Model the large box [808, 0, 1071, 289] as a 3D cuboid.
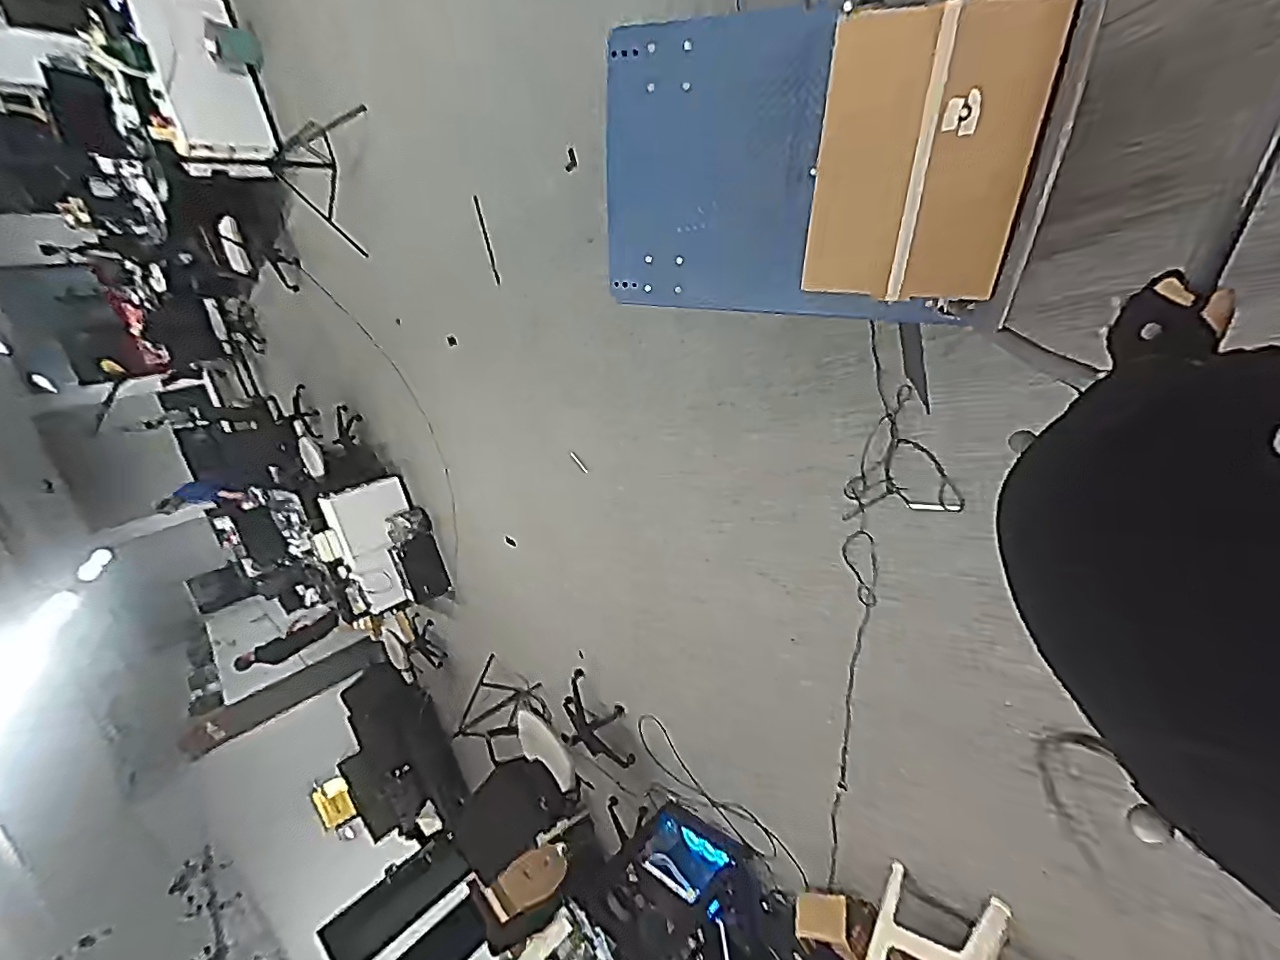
[{"bbox_3d":[0.498,-0.576,0.991,0.320,0.320,0.408,8,117,16],"label":"large box"}]
